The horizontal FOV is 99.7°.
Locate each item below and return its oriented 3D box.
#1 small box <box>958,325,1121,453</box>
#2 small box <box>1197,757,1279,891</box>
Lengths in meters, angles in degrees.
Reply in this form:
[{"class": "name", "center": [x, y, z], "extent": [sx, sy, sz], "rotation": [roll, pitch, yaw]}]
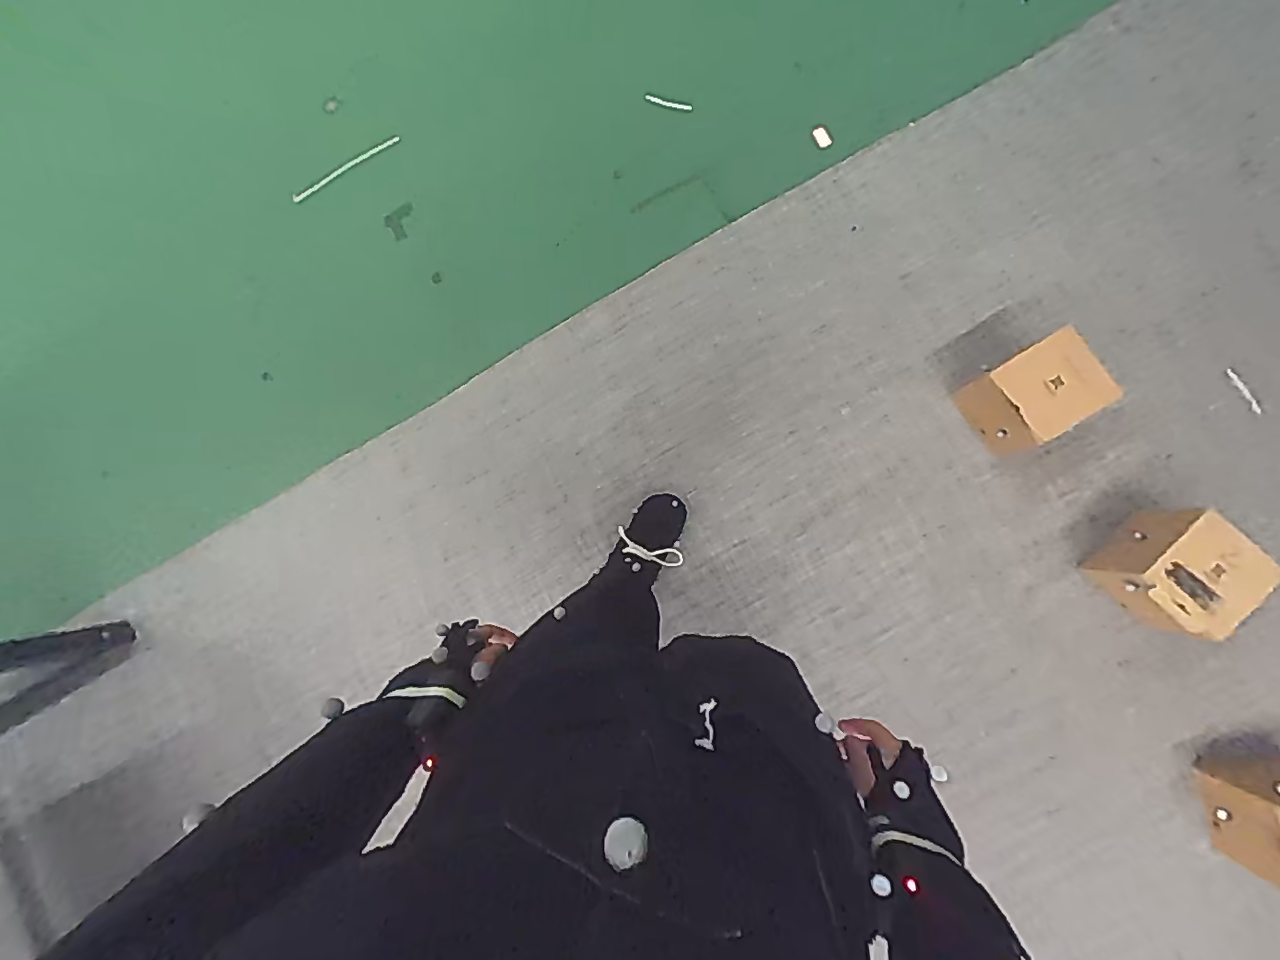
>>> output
[{"class": "small box", "center": [0.776, -0.171, 1.081], "extent": [0.179, 0.176, 0.168], "rotation": [-33, 84, 1]}, {"class": "small box", "center": [1.183, 0.621, 0.970], "extent": [0.179, 0.176, 0.168], "rotation": [-11, 84, 5]}]
